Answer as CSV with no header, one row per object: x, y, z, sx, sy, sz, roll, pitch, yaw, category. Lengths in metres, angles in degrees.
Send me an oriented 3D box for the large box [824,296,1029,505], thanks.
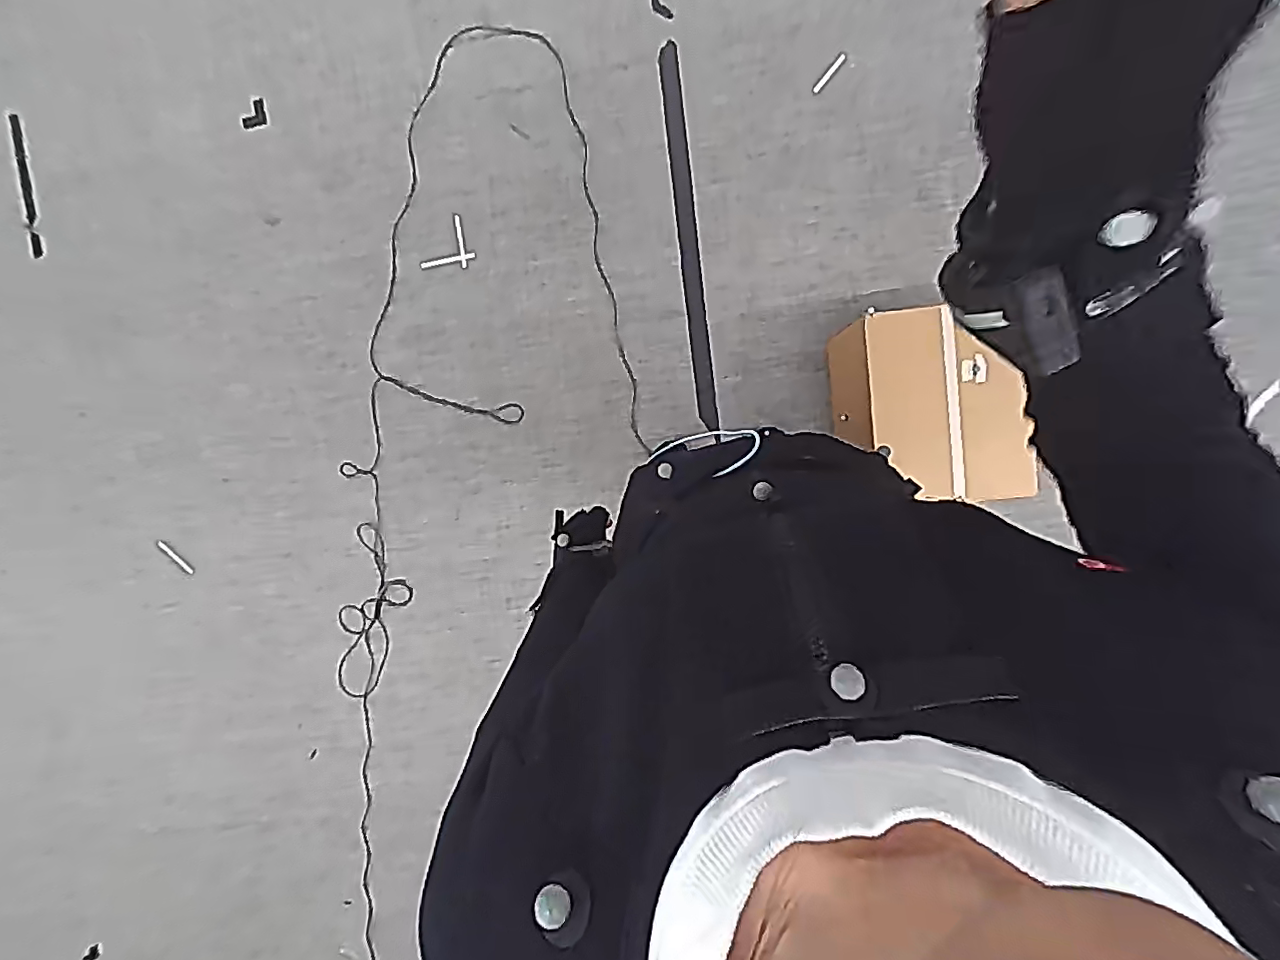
0.637,-0.167,1.259,0.320,0.320,0.408,-6,93,4,large box
